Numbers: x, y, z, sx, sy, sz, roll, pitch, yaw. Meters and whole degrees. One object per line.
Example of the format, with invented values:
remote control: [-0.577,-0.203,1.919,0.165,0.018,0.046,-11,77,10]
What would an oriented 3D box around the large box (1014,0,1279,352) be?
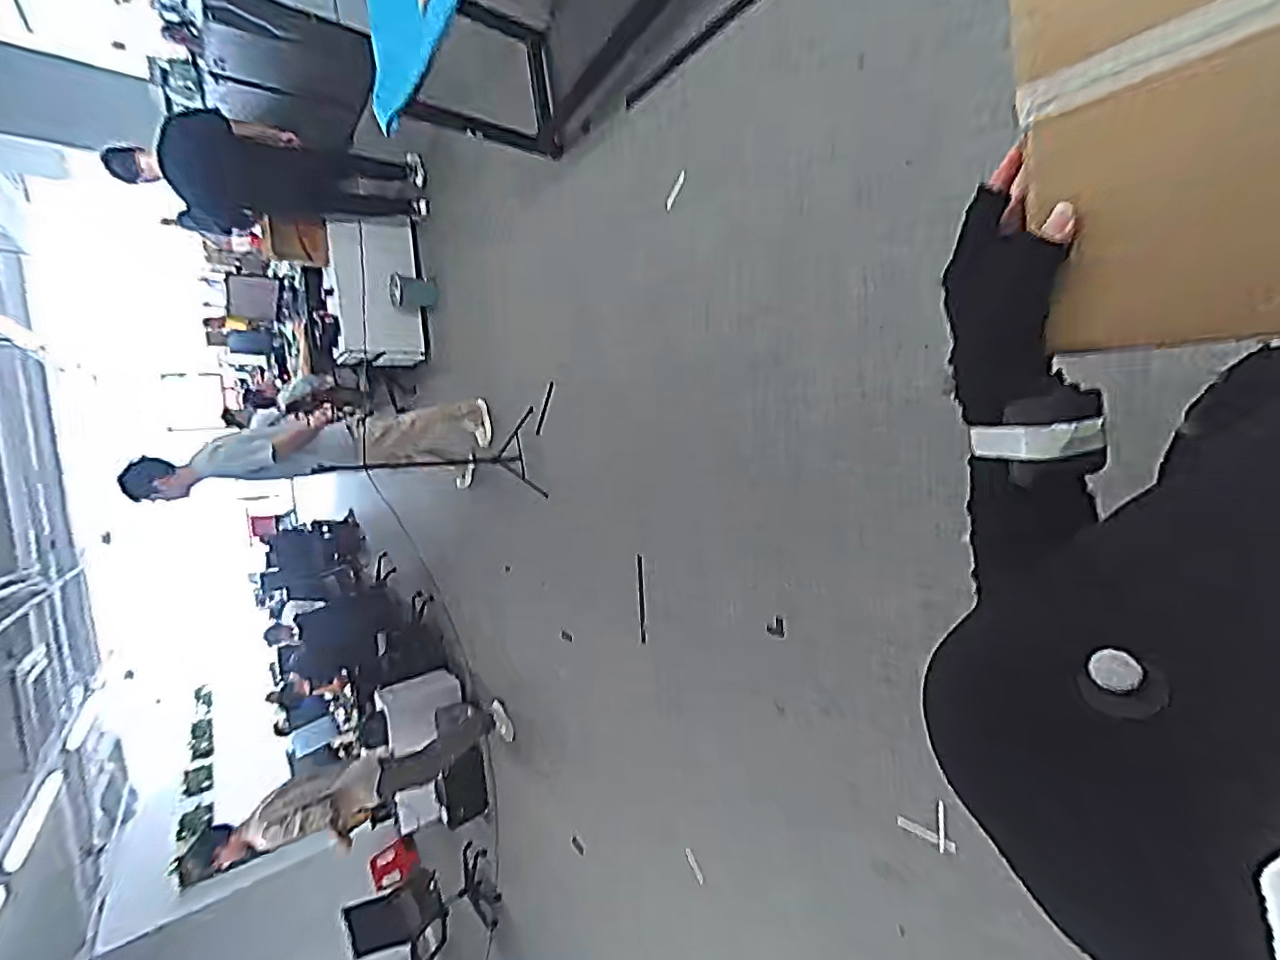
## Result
large box: [0.473,-0.277,0.265,0.408,0.320,0.320,6,118,54]
